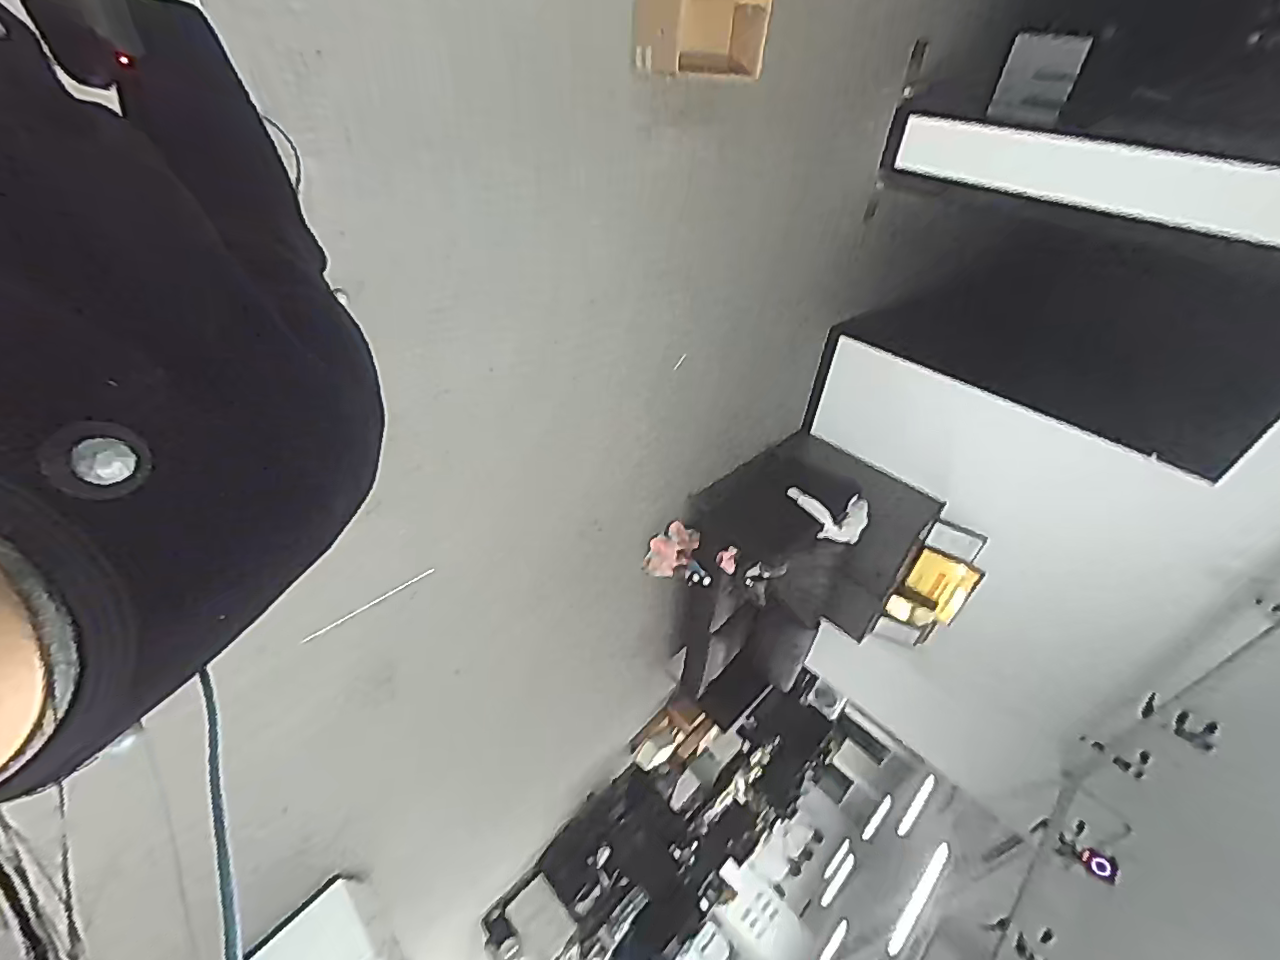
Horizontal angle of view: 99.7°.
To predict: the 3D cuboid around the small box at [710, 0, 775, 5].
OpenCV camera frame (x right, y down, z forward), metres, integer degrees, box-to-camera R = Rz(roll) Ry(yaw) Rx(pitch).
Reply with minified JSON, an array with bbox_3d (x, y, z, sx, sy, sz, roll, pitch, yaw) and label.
[{"bbox_3d":[0.285,-1.473,1.539,0.179,0.176,0.168,-28,138,-34],"label":"small box"}]
